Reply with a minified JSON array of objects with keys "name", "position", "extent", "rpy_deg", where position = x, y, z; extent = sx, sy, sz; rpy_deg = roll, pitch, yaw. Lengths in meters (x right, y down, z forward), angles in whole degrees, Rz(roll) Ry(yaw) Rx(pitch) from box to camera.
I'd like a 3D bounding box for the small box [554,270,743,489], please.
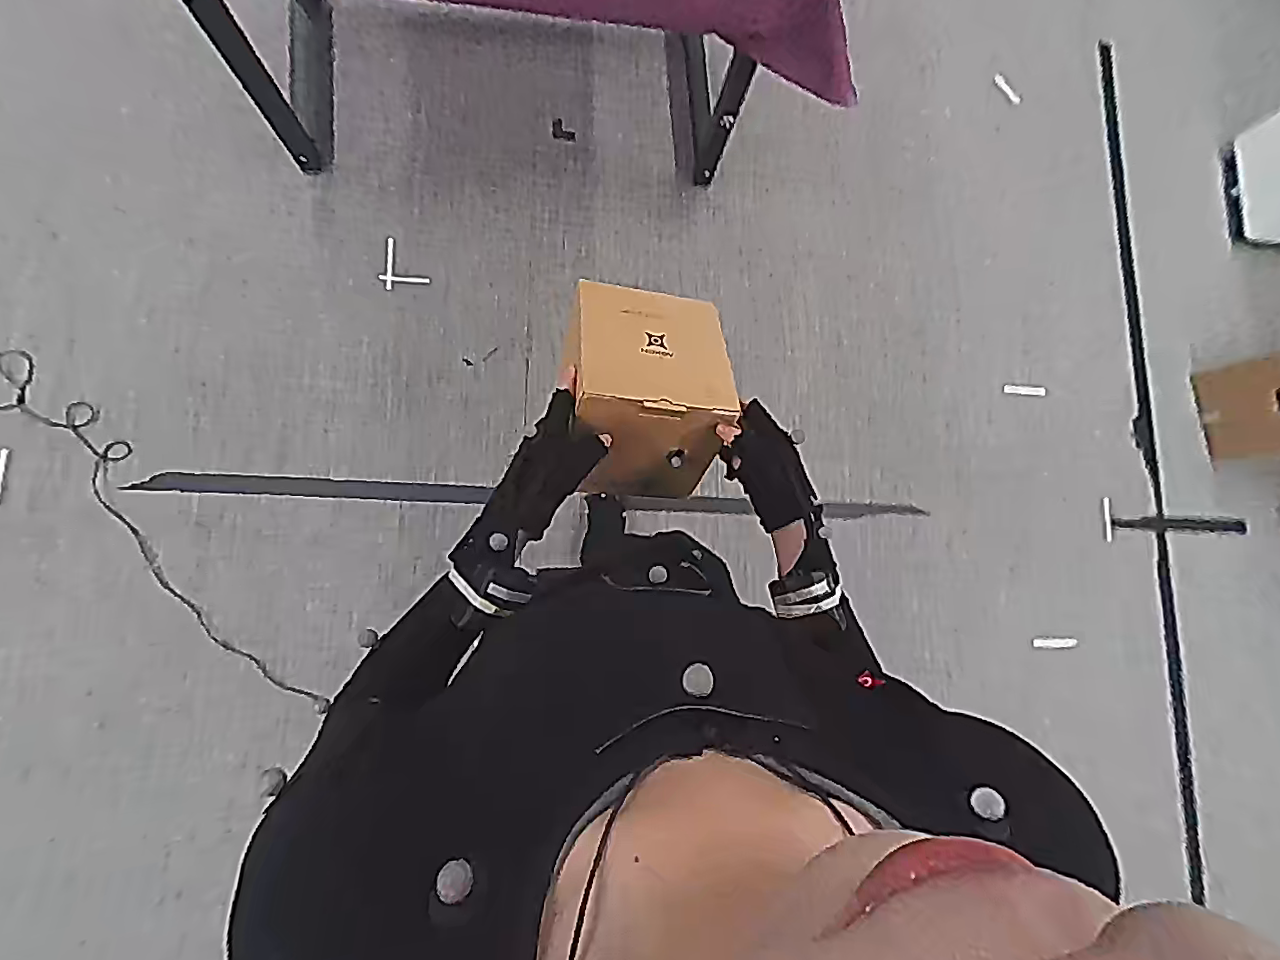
[{"name":"small box","position":[-0.004,-0.105,0.621],"extent":[0.168,0.176,0.179],"rpy_deg":[4,54,-16]}]
